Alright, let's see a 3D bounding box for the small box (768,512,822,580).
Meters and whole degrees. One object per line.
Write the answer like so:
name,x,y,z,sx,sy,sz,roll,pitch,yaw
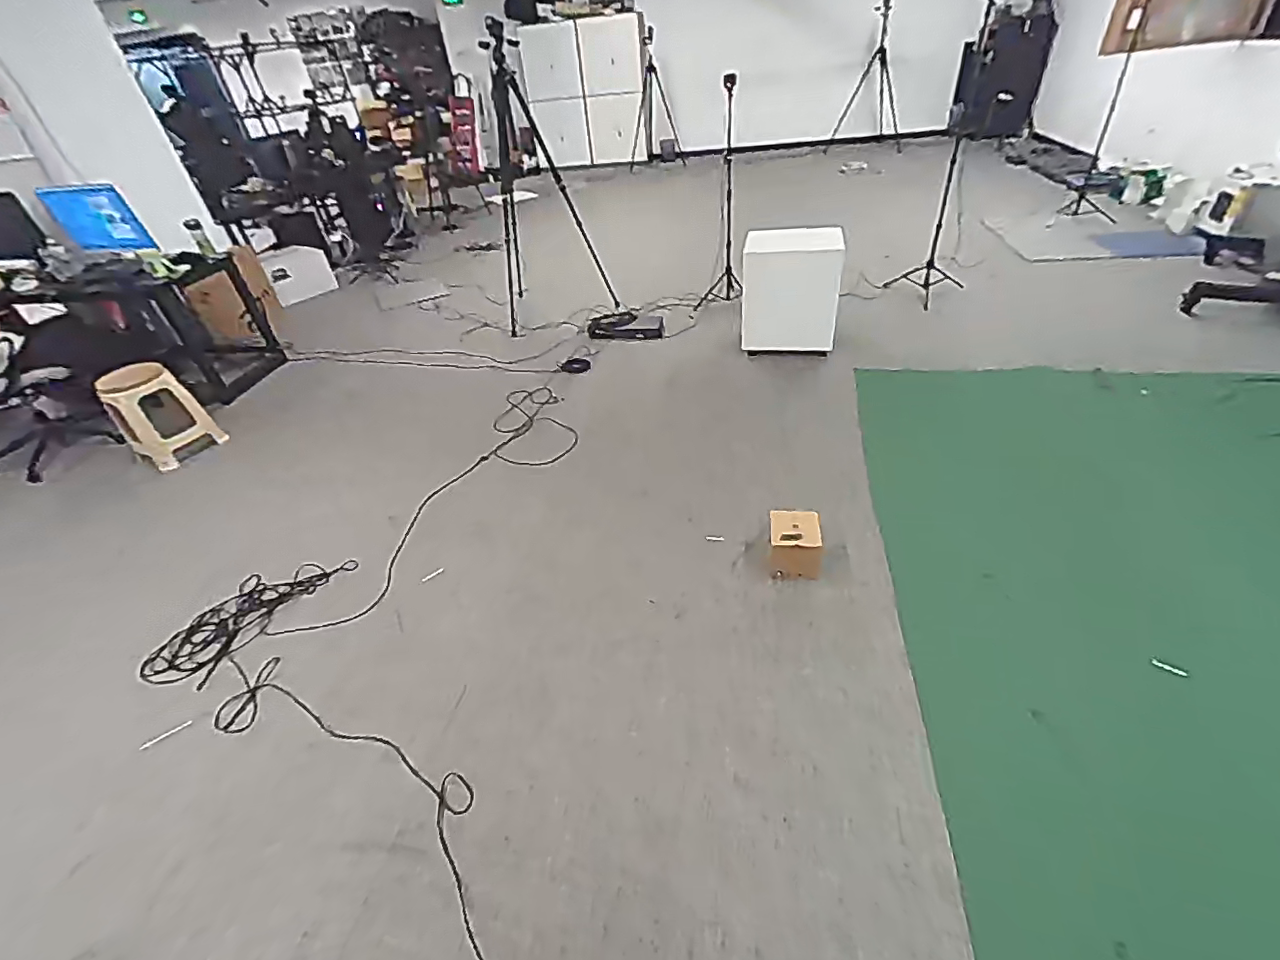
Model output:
small box,0.544,0.234,1.909,0.168,0.176,0.179,2,39,10
